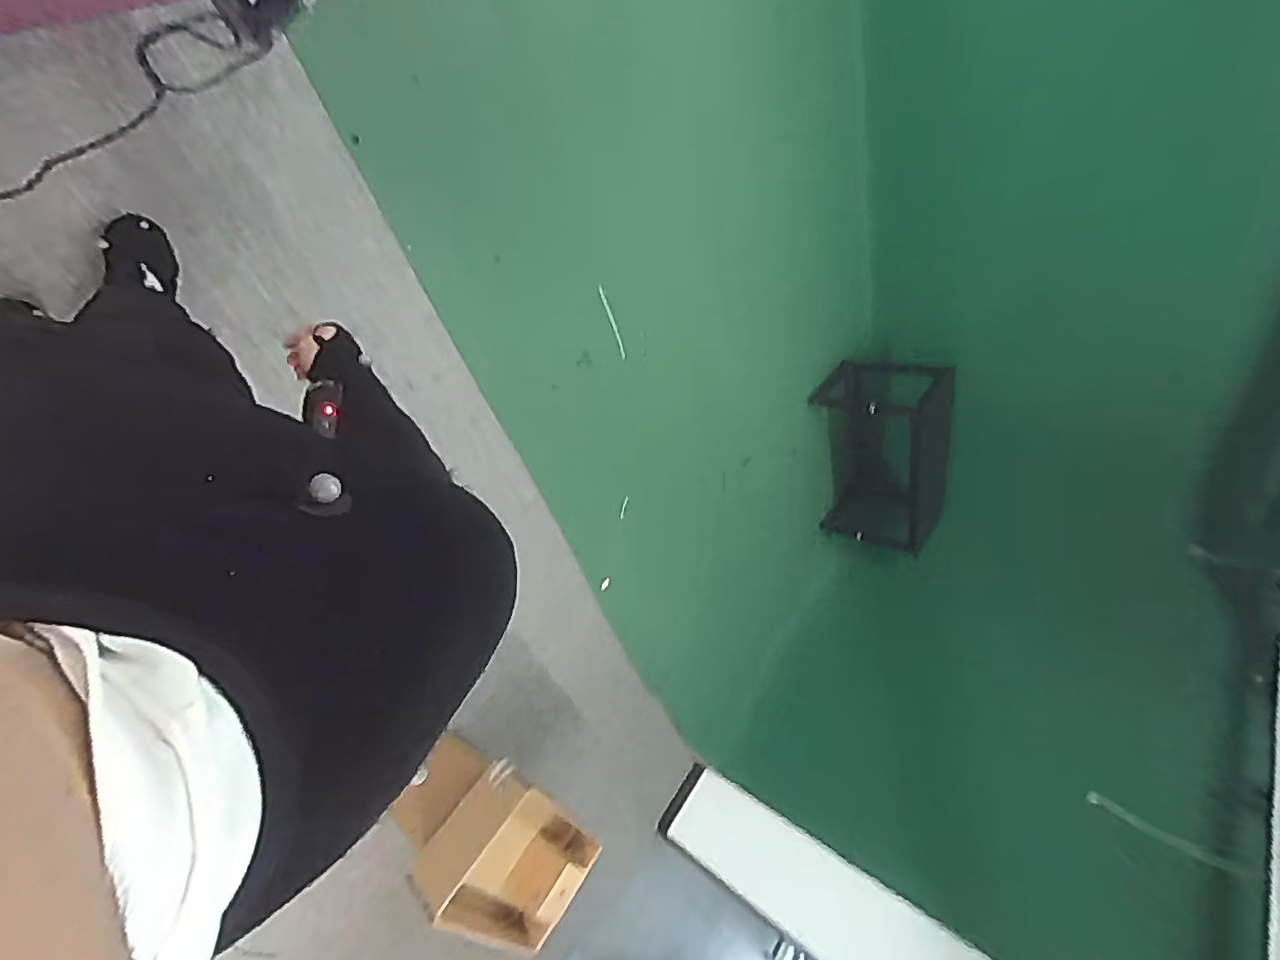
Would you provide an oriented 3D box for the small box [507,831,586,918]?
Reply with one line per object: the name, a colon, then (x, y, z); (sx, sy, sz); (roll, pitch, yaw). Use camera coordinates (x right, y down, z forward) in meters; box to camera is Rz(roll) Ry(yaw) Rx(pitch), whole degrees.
small box: (-0.327, 1.368, 1.882); (0.179, 0.176, 0.168); (-51, 137, -24)
